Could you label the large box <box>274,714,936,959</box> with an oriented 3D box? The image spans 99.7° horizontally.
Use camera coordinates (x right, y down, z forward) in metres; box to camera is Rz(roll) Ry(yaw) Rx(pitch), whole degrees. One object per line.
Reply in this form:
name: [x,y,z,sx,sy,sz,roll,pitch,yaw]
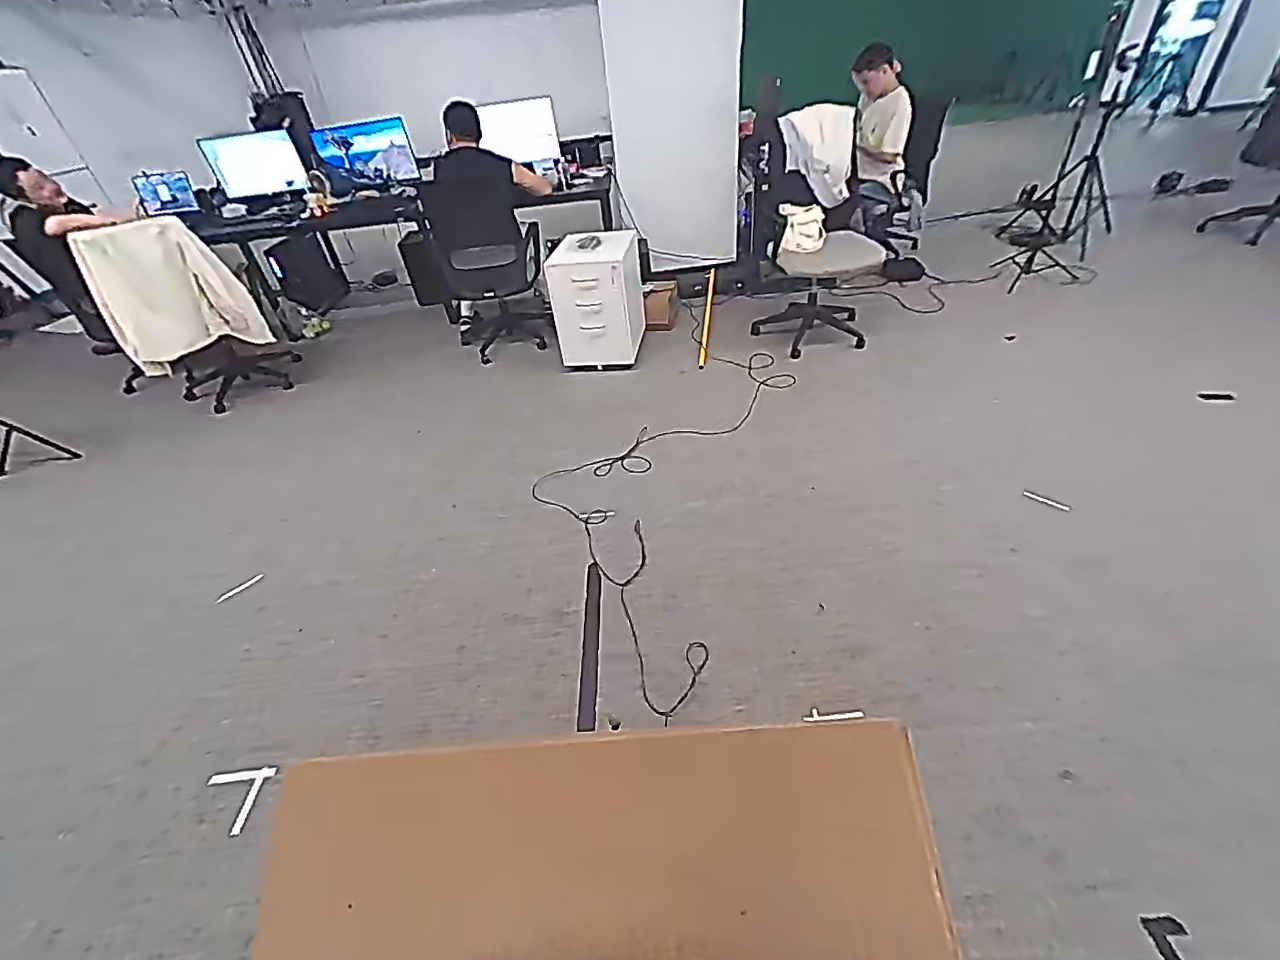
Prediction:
large box: [-0.012,0.378,0.442,0.408,0.320,0.320,-5,66,3]
